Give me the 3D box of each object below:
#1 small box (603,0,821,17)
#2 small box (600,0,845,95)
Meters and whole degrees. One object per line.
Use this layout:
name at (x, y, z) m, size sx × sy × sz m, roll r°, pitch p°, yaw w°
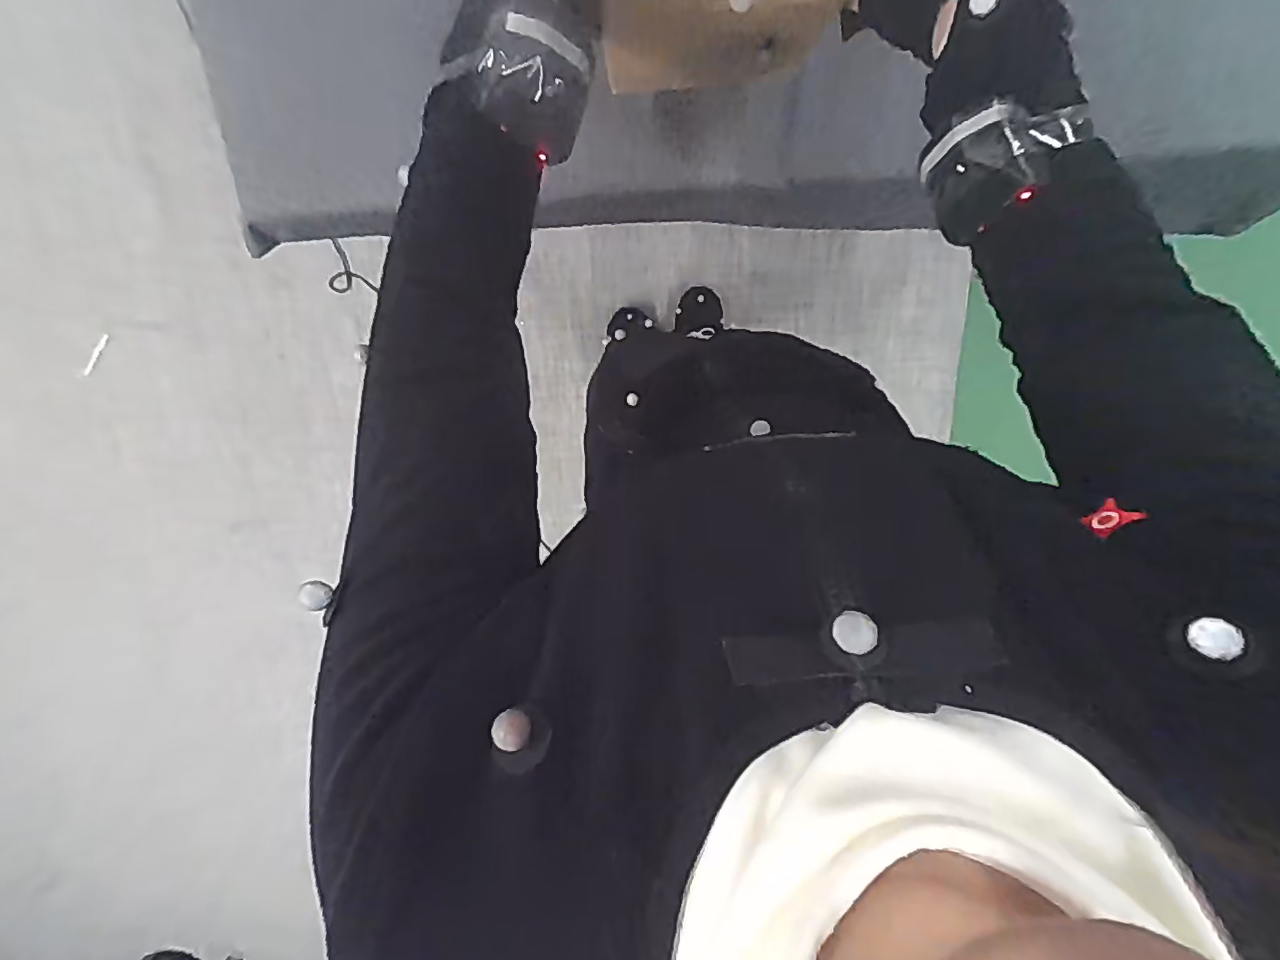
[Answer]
small box at (0.057, -0.375, 0.272) m, size 0.179 × 0.176 × 0.168 m, roll -3°, pitch 107°, yaw 1°
small box at (0.056, -0.432, 0.427) m, size 0.179 × 0.176 × 0.168 m, roll -3°, pitch 108°, yaw 3°
